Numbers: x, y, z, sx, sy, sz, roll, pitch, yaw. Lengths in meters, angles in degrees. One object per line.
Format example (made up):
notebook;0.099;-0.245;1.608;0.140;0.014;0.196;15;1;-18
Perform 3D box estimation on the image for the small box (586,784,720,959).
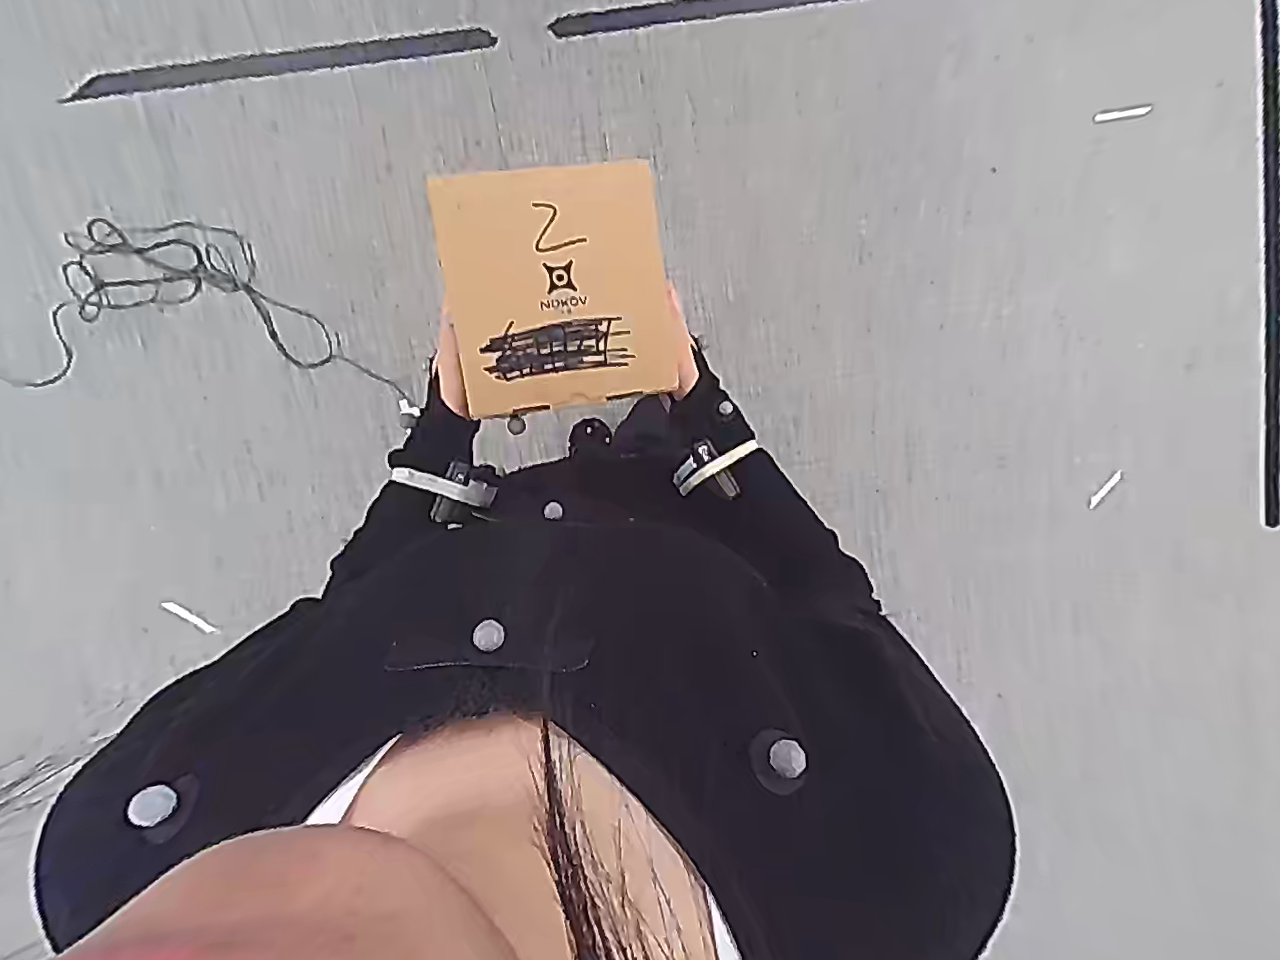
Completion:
small box;0.015;0.616;0.837;0.168;0.176;0.179;-12;97;-4
